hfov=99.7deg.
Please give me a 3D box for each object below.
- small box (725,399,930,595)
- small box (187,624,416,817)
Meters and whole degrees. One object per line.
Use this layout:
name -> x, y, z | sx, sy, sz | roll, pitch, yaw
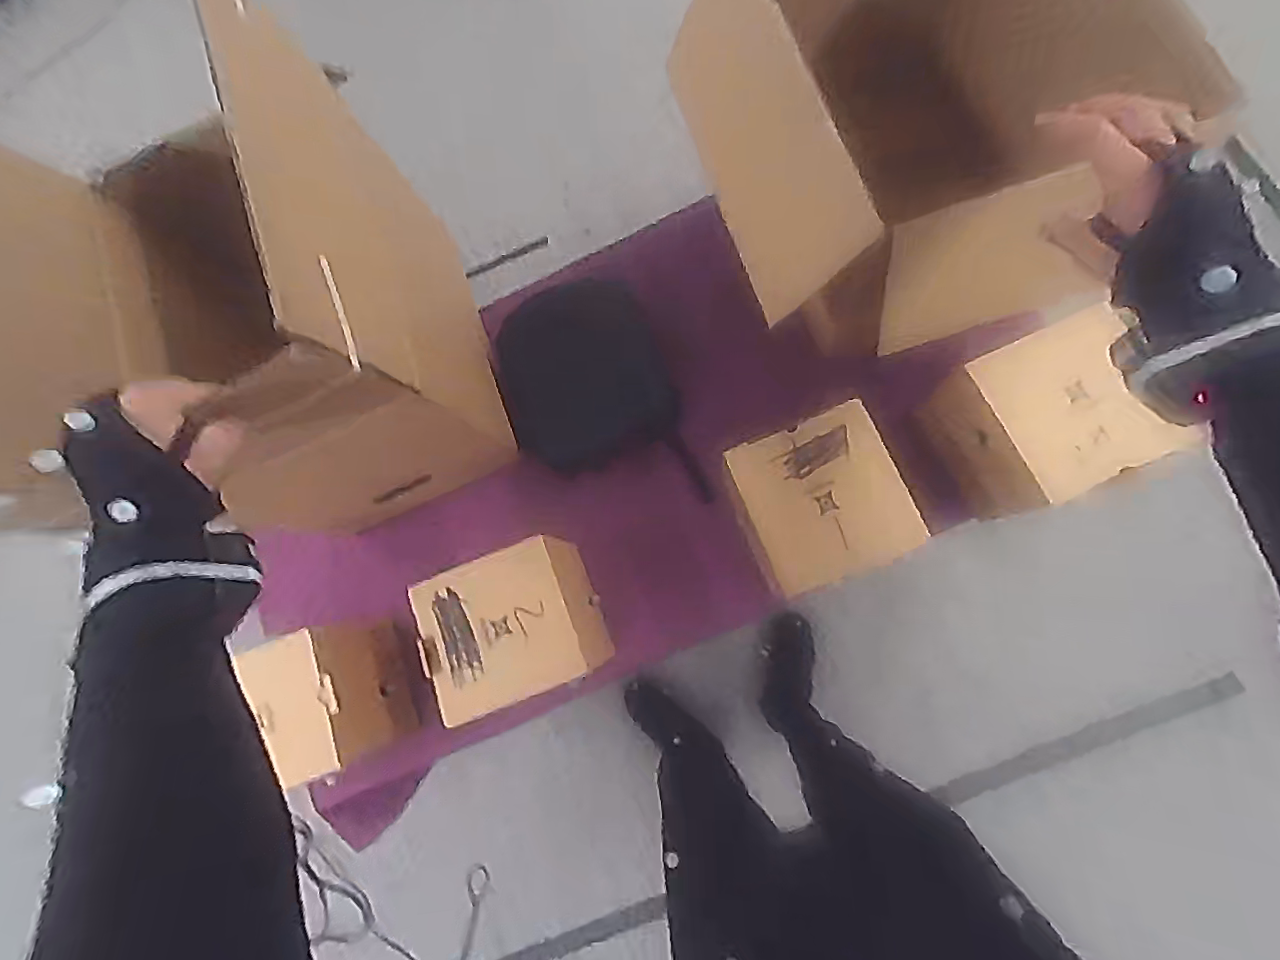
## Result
small box -> 0.209, 0.031, 0.664 | 0.168, 0.176, 0.179 | -23, 78, 4
small box -> -0.430, 0.299, 0.708 | 0.179, 0.176, 0.168 | -22, 77, 2
